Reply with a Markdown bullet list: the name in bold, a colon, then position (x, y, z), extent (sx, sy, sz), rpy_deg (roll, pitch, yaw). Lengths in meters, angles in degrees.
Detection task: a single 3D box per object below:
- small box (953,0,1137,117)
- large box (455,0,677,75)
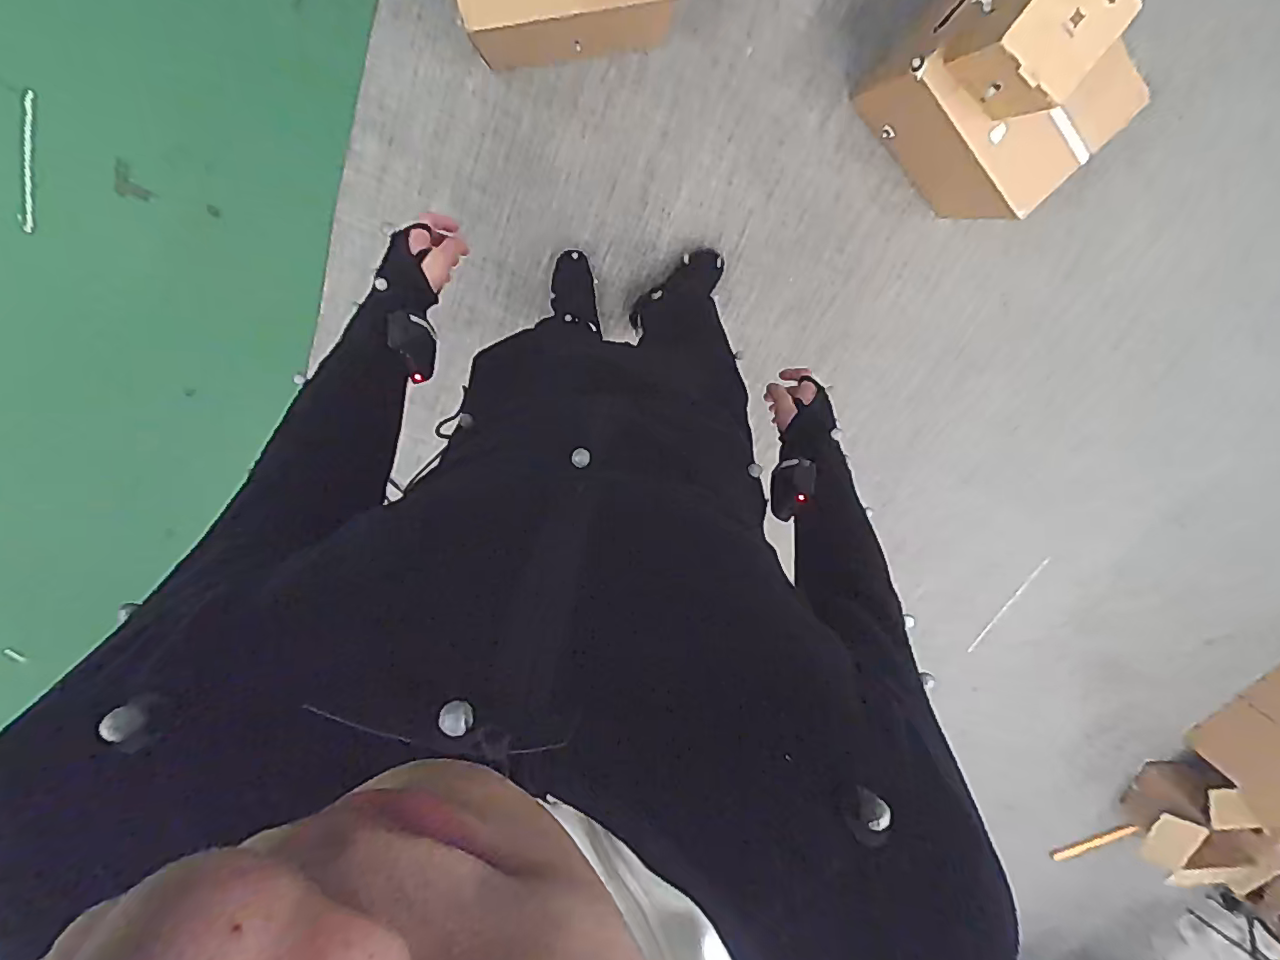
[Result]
- **small box**: position (0.699, -0.787, 0.963), extent (0.168, 0.176, 0.179), rpy_deg (31, 111, -18)
- **large box**: position (-0.156, -1.037, 1.048), extent (0.408, 0.320, 0.320), rpy_deg (-10, 114, 1)
